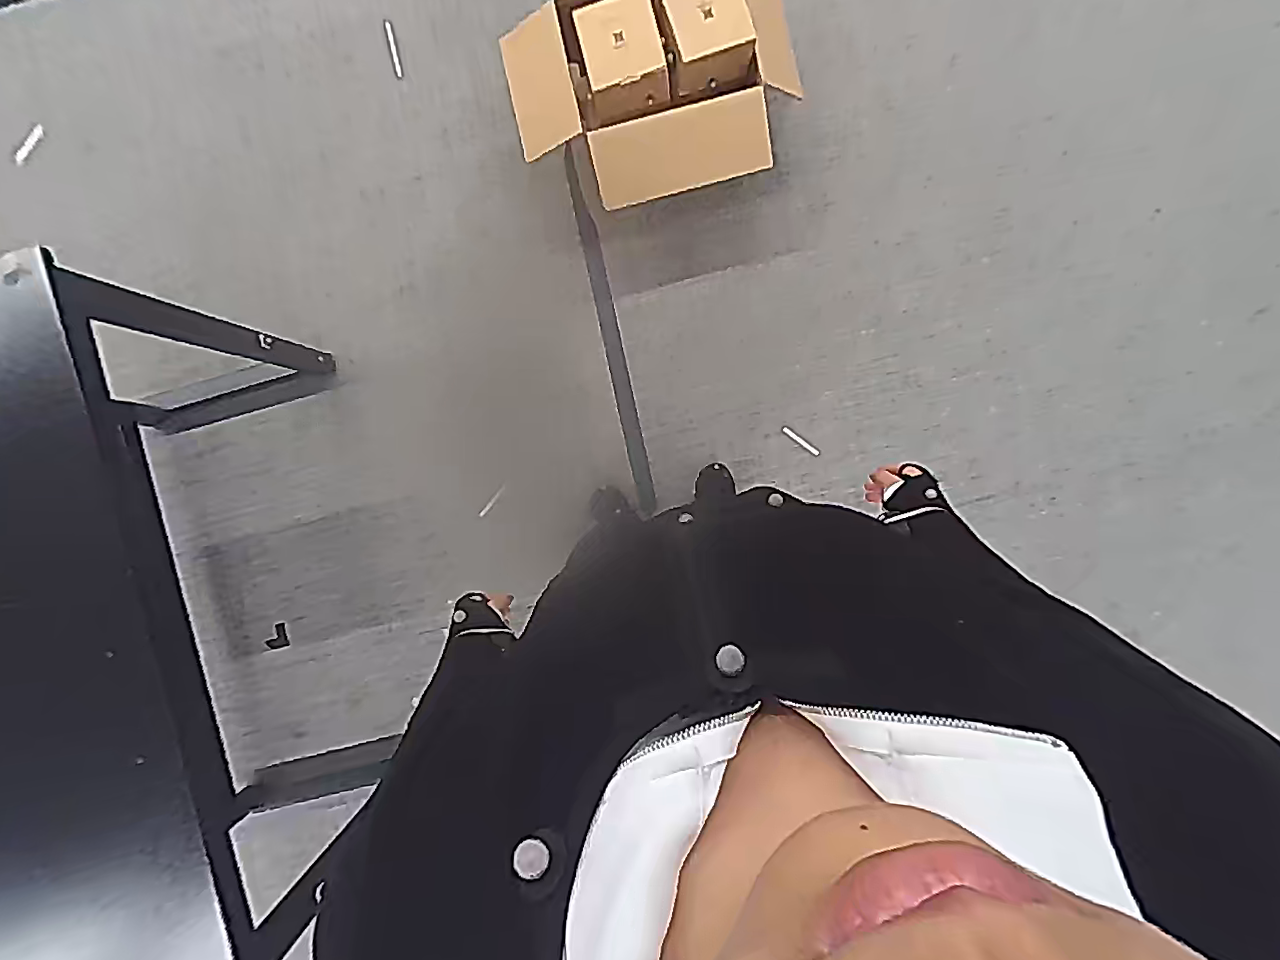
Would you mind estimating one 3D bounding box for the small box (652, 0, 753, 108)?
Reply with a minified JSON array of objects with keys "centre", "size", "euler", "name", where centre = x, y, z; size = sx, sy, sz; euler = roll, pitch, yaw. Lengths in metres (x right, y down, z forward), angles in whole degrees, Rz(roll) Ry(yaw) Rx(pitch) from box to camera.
[{"centre":[0.132,-0.970,1.200],"size":[0.168,0.176,0.179],"euler":[-20,91,-1],"name":"small box"}]
